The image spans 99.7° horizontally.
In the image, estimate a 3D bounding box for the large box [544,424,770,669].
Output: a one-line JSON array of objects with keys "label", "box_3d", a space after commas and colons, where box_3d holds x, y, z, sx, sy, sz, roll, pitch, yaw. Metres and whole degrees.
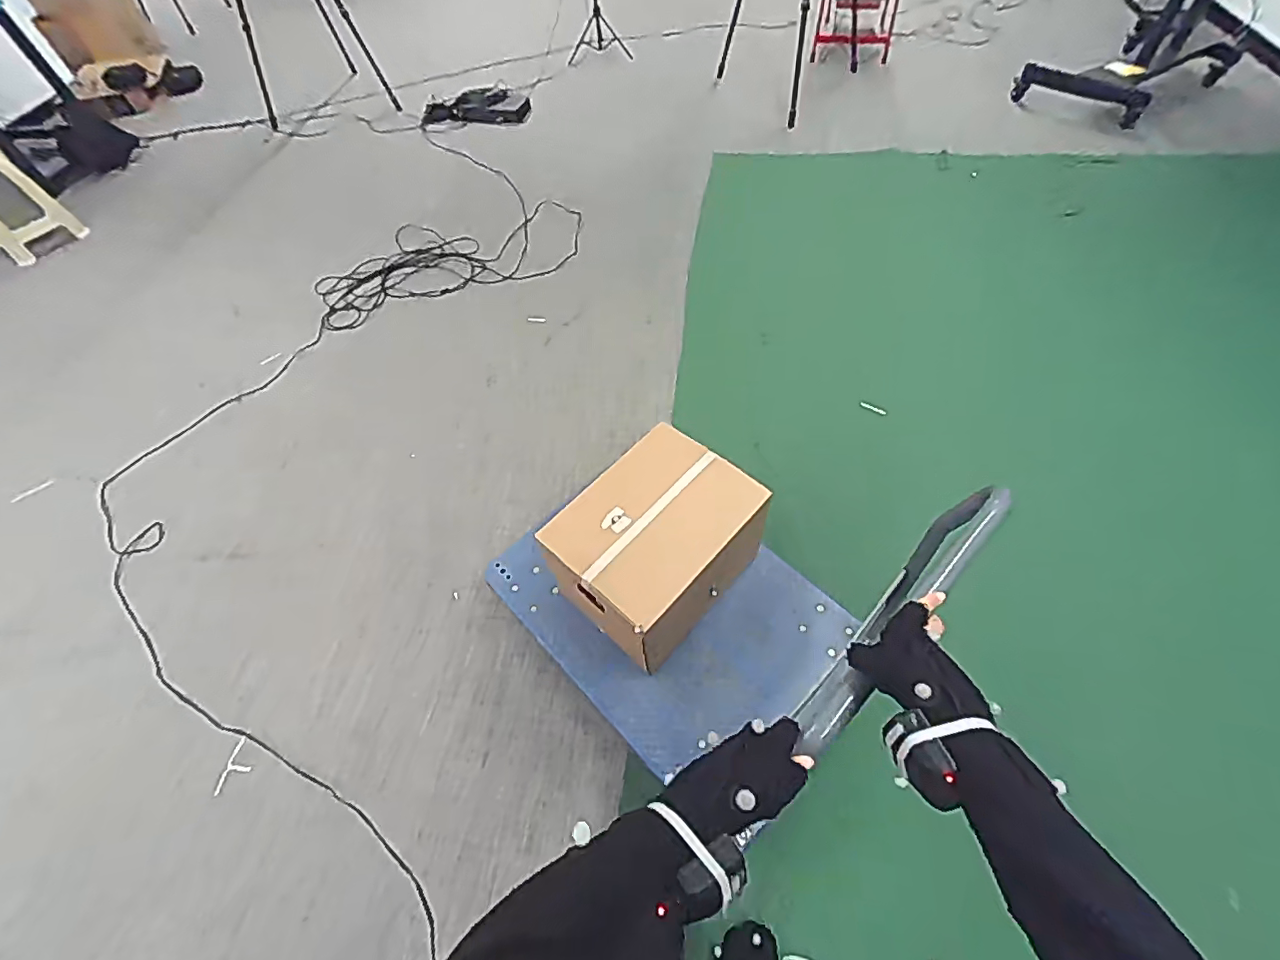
[{"label": "large box", "box_3d": [0.049, 0.155, 1.260, 0.320, 0.320, 0.408, 36, 66, 25]}]
